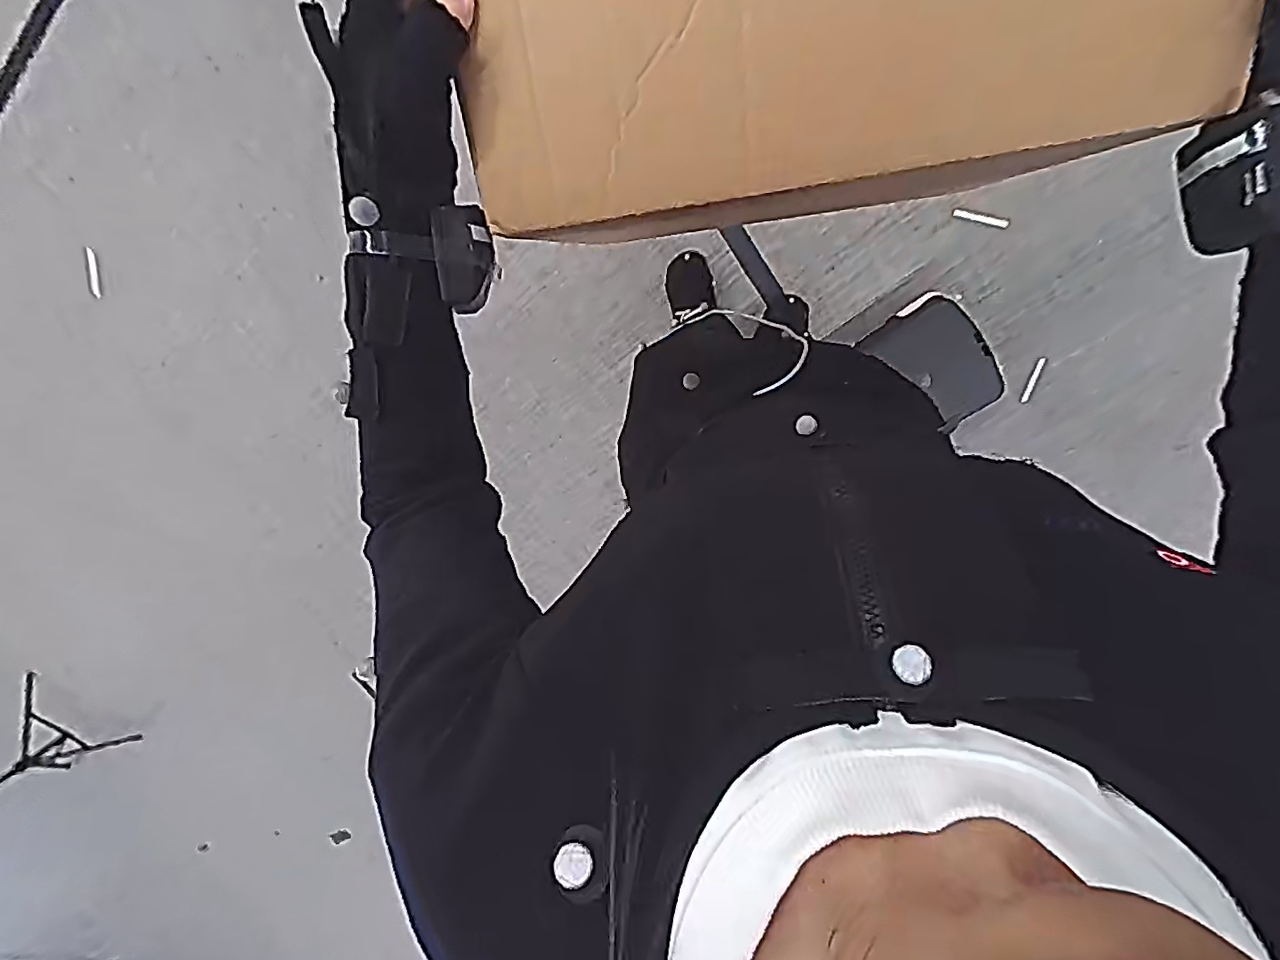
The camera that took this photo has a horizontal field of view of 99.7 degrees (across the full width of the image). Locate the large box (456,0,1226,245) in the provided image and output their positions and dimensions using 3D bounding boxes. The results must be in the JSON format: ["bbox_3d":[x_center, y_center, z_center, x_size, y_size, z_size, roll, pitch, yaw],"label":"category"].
[{"bbox_3d":[0.100,-0.379,0.404,0.408,0.320,0.320,-5,112,10],"label":"large box"}]
